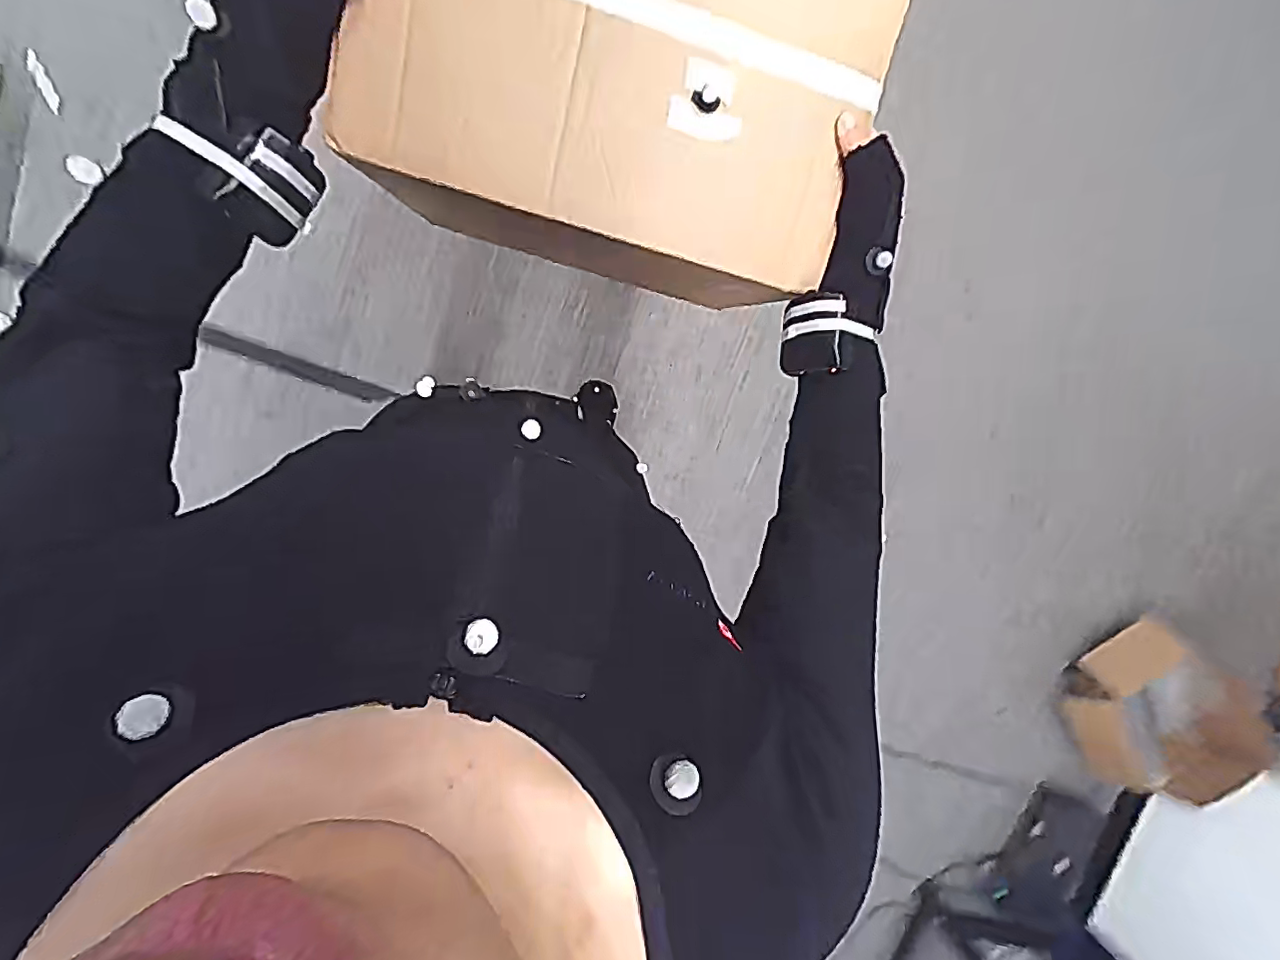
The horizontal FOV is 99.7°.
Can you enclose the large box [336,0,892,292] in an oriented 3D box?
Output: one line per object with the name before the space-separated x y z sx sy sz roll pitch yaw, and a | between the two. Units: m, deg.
large box | -0.027 -0.402 0.548 0.408 0.320 0.320 11 105 -11
